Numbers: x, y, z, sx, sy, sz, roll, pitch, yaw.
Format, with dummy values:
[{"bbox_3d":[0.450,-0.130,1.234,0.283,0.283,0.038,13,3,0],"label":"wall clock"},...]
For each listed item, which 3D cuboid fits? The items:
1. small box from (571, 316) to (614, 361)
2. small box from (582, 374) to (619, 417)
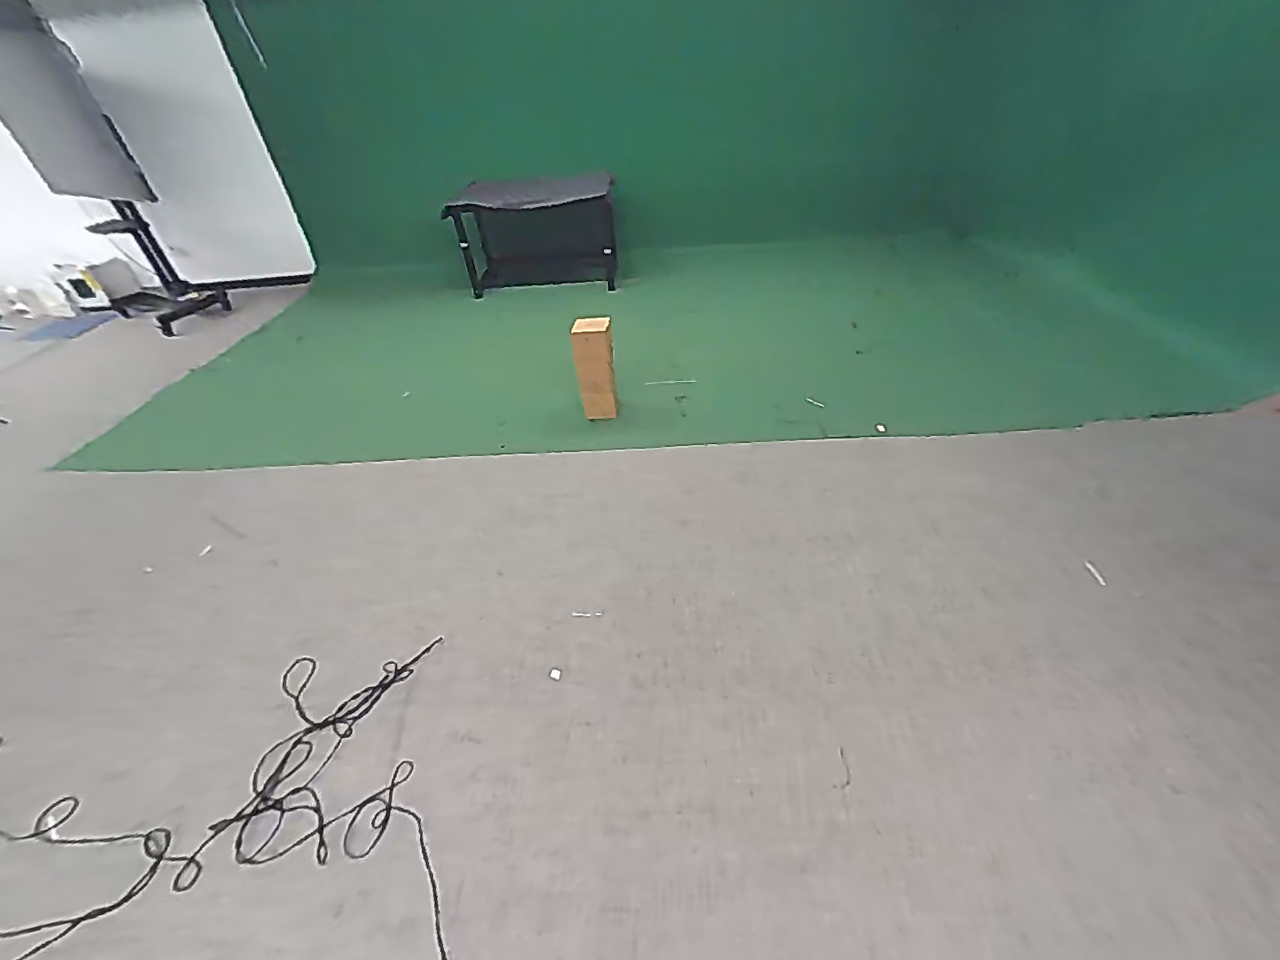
[{"bbox_3d":[-0.233,-0.703,2.699,0.179,0.176,0.168,0,39,8],"label":"small box"},{"bbox_3d":[-0.207,-0.450,2.908,0.168,0.176,0.179,-2,38,5],"label":"small box"}]
